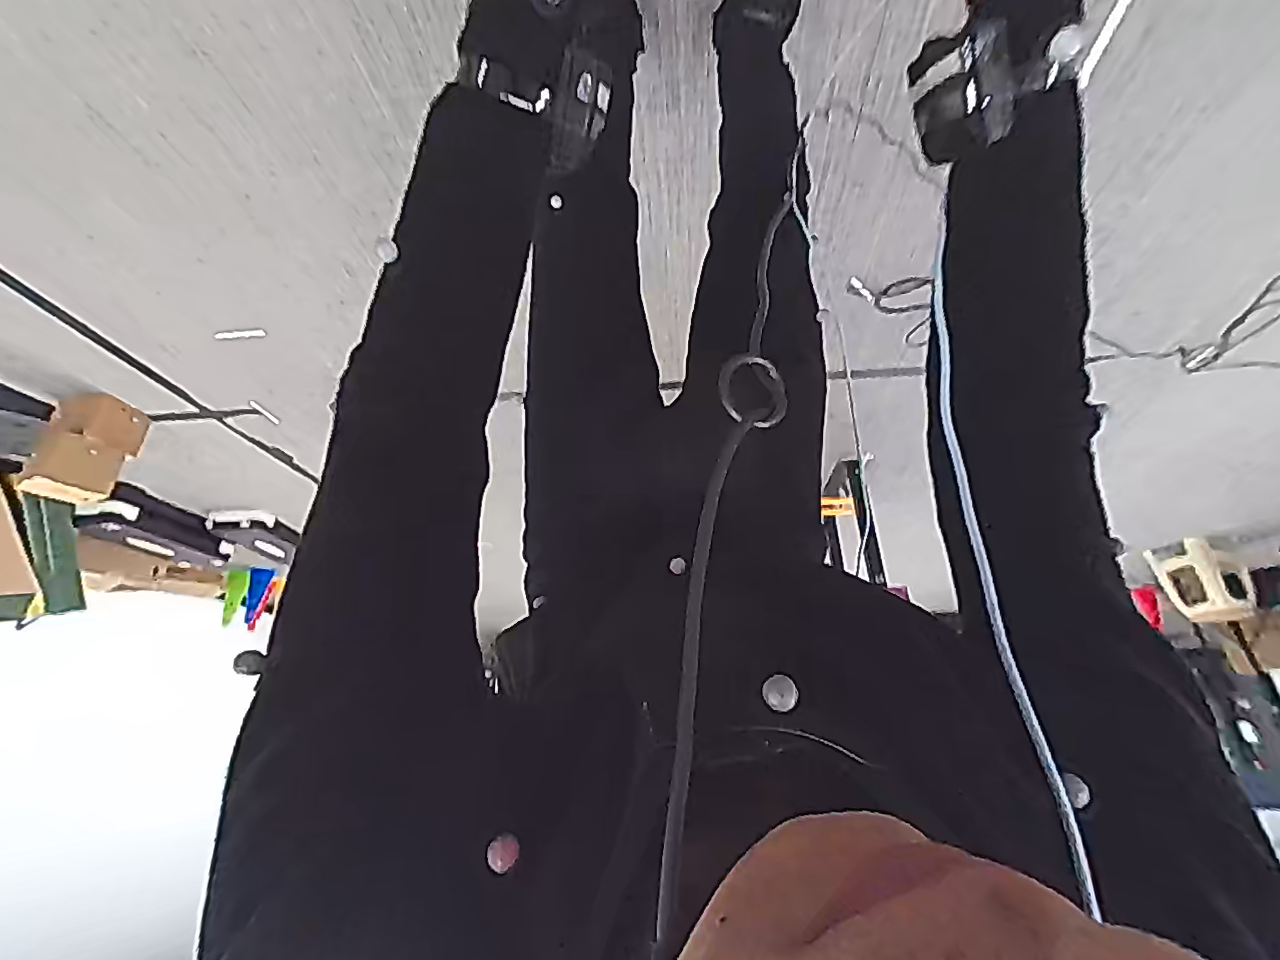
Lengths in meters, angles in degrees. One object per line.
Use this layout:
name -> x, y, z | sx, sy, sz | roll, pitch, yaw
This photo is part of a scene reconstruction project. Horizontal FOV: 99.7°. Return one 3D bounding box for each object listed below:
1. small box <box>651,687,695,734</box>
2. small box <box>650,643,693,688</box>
small box -> 0.131, 0.915, 2.148 | 0.168, 0.176, 0.179 | -3, 154, 3
small box -> 0.128, 0.763, 2.210 | 0.168, 0.176, 0.179 | -3, 155, 4
